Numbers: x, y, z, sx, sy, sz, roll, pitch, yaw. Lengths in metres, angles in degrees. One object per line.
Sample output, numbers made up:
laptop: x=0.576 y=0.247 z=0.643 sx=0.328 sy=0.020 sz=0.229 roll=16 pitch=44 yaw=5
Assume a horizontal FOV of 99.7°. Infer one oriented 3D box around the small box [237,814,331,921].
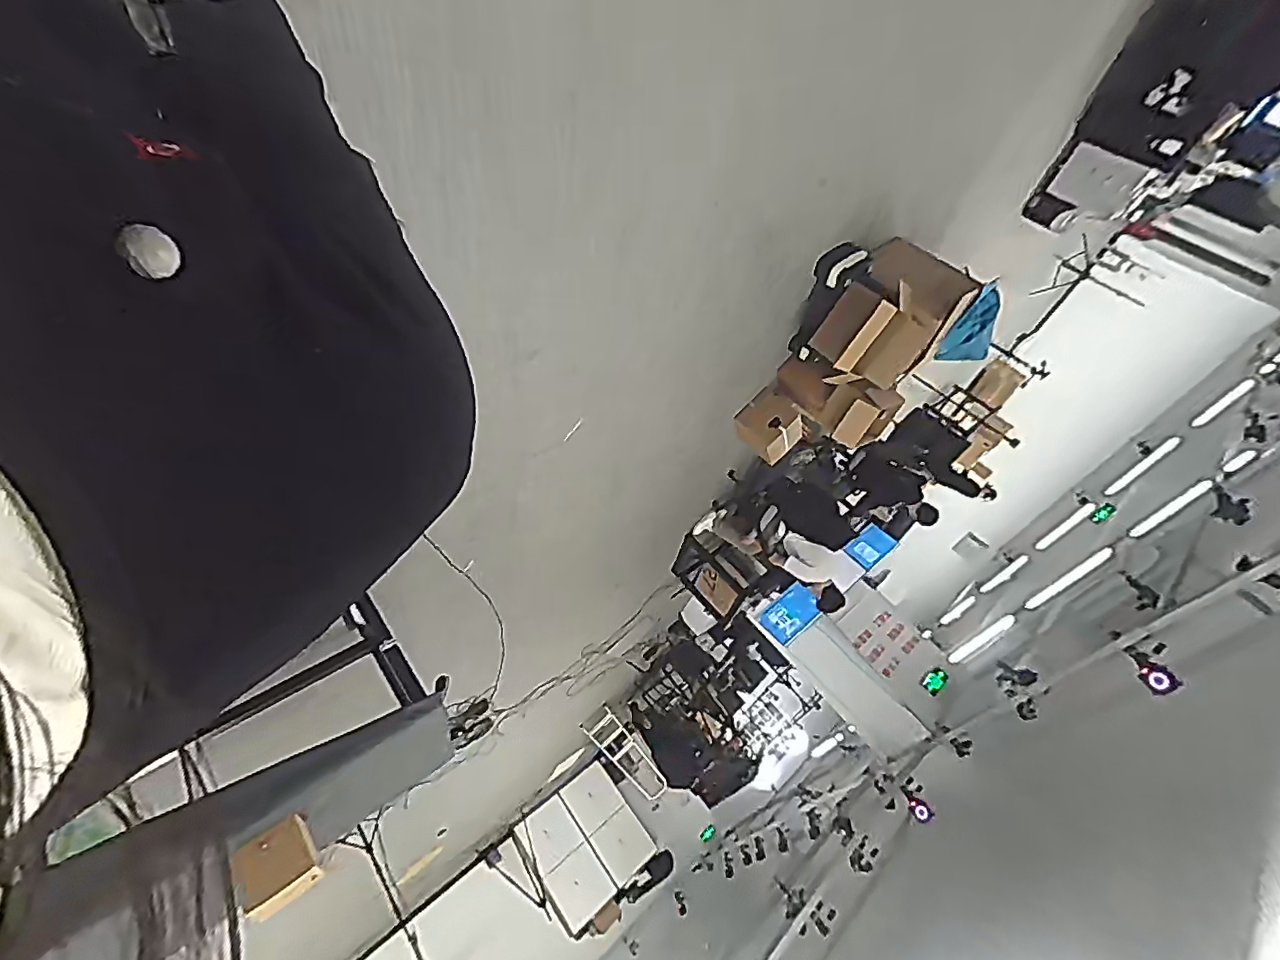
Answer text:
small box: x=-1.021 y=1.106 z=1.548 sx=0.179 sy=0.176 sz=0.168 roll=-26 pitch=150 yaw=-35
